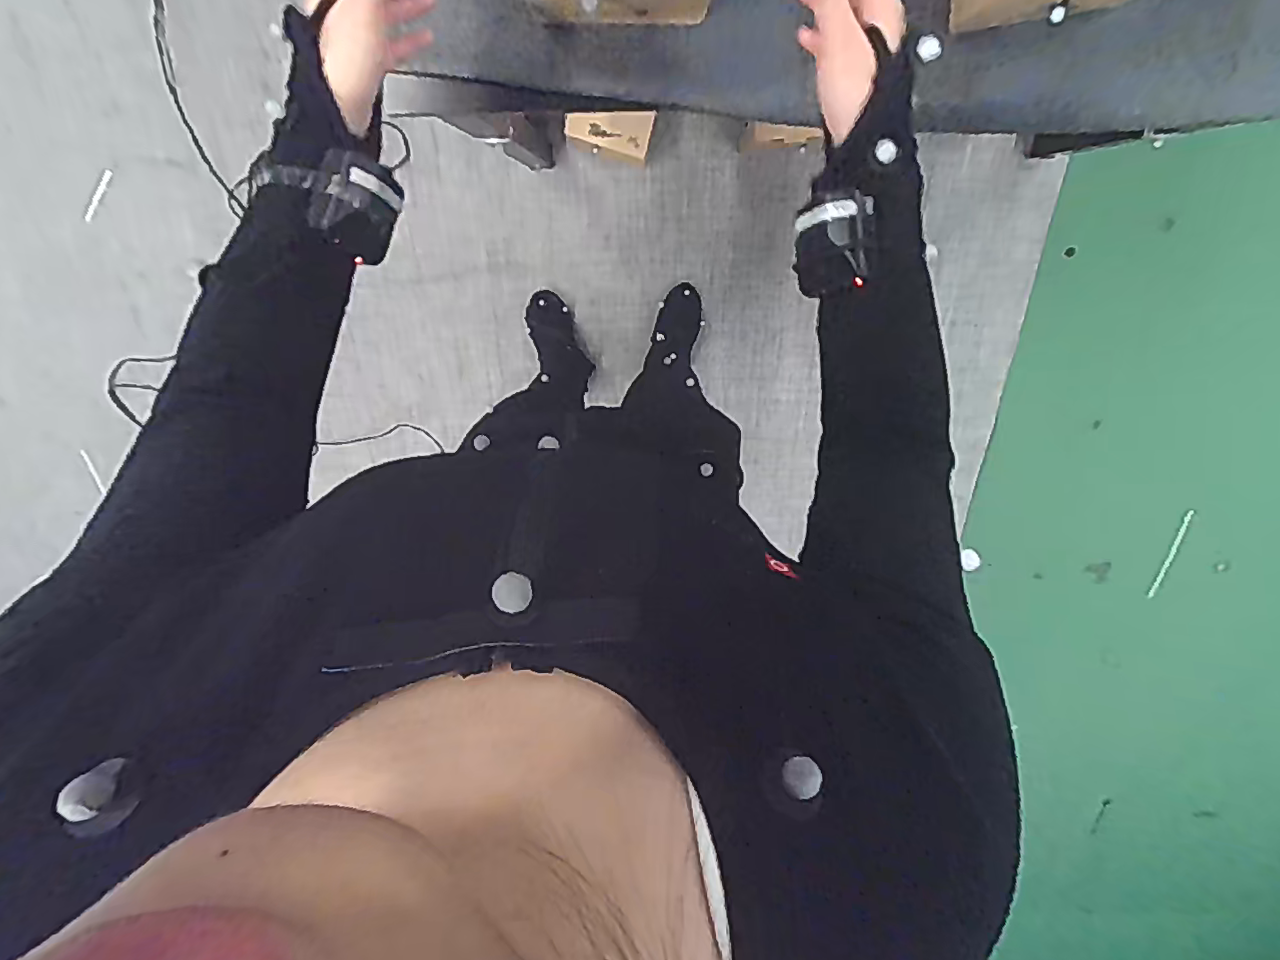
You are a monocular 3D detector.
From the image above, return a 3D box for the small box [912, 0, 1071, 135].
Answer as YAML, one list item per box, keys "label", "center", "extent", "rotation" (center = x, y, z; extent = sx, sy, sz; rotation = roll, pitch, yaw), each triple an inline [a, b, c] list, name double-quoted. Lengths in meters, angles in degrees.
- label: "small box"
  center: [0.682, -0.808, 1.077]
  extent: [0.179, 0.176, 0.168]
  rotation: [10, 115, -6]

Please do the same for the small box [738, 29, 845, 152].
- label: "small box"
  center: [0.296, -0.773, 1.094]
  extent: [0.168, 0.176, 0.179]
  rotation: [-3, 114, 1]

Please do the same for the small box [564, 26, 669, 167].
- label: "small box"
  center: [-0.048, -0.763, 1.098]
  extent: [0.168, 0.176, 0.179]
  rotation: [15, 114, -7]

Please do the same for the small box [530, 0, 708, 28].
- label: "small box"
  center: [-0.019, -0.485, 0.424]
  extent: [0.168, 0.176, 0.179]
  rotation: [0, 115, 0]
